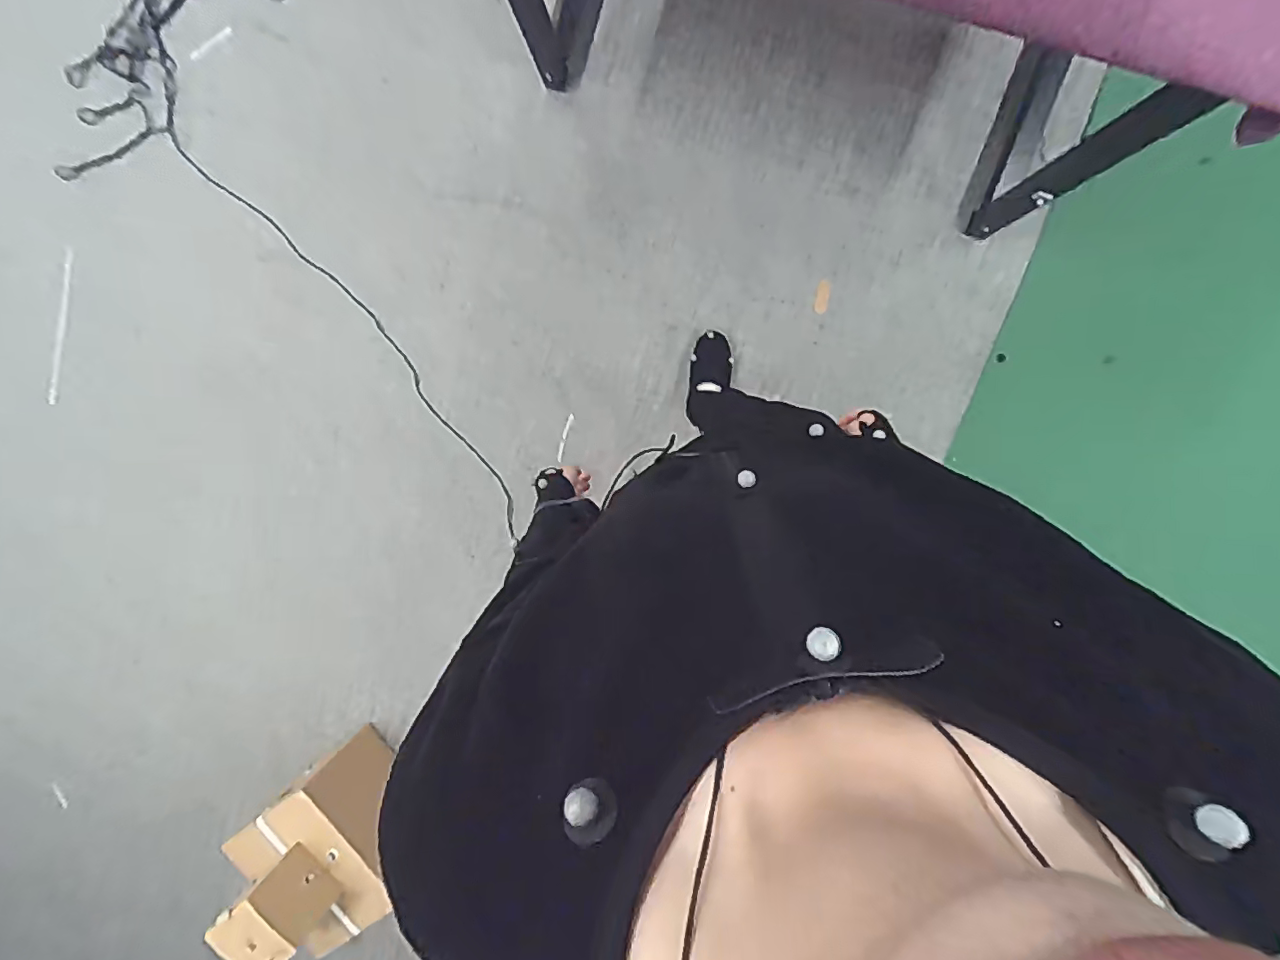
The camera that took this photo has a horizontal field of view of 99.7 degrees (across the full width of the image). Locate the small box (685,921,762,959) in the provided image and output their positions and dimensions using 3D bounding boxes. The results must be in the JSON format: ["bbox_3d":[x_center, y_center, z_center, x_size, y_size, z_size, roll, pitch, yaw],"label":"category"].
[{"bbox_3d":[0.190,1.174,1.245,0.168,0.176,0.179,10,98,3],"label":"small box"}]

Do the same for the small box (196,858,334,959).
[{"bbox_3d":[-0.898,1.067,1.310,0.168,0.176,0.179,-41,92,10],"label":"small box"}]

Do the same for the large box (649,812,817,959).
[{"bbox_3d":[0.231,1.176,1.490,0.408,0.320,0.320,4,99,2],"label":"large box"}]
